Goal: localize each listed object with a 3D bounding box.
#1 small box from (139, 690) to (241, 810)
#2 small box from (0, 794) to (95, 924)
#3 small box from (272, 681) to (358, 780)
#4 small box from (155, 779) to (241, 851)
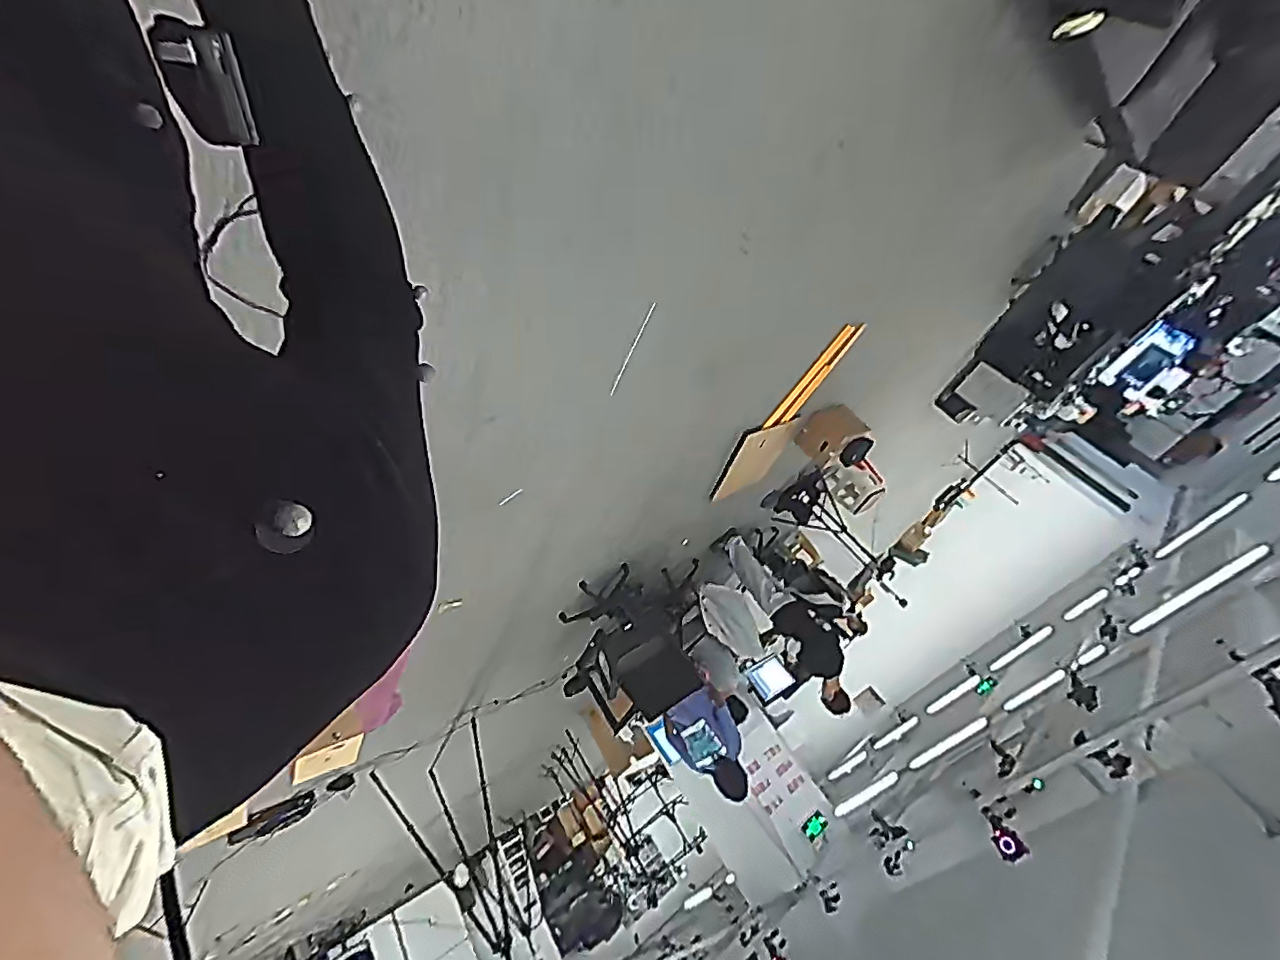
[{"bbox_3d":[-1.060,0.631,1.278,0.168,0.176,0.179,-10,142,-43],"label":"small box"},{"bbox_3d":[-1.385,0.863,1.242,0.168,0.176,0.179,-11,141,-43],"label":"small box"},{"bbox_3d":[-0.934,0.711,1.546,0.168,0.176,0.179,-10,141,-45],"label":"small box"},{"bbox_3d":[-1.181,0.833,1.438,0.168,0.176,0.179,-9,141,-43],"label":"small box"}]
